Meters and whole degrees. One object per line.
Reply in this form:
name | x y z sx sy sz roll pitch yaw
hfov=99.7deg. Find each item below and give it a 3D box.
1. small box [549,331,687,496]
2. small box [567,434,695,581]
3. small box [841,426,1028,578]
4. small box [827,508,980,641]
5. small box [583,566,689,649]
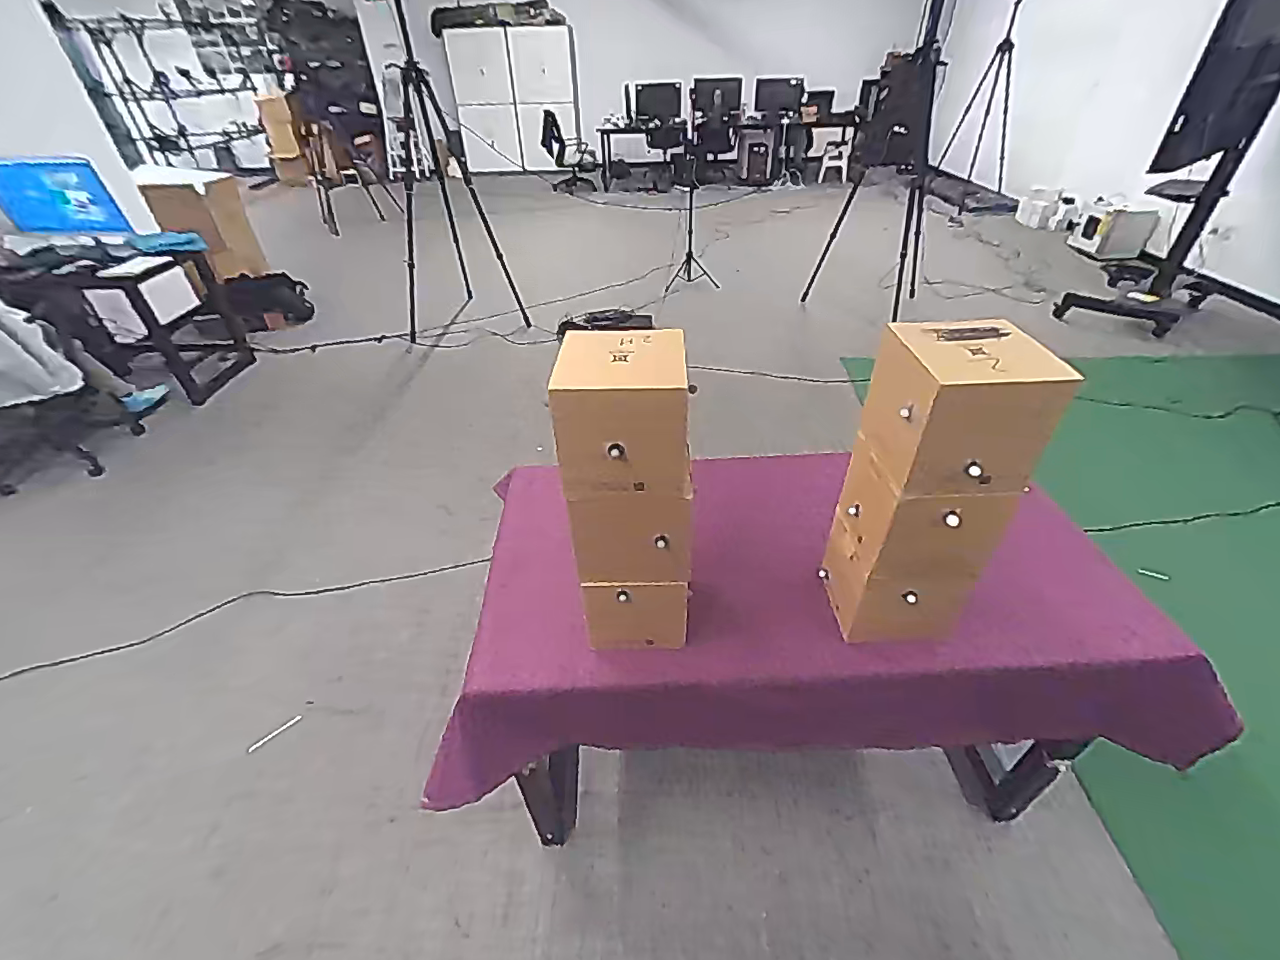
small box | -0.019 -0.091 0.741 0.168 0.176 0.179 1 38 3
small box | -0.008 0.042 0.838 0.179 0.176 0.168 -1 38 3
small box | 0.431 0.034 0.827 0.179 0.176 0.168 -3 39 1
small box | 0.433 0.162 0.928 0.179 0.176 0.168 -1 38 1
small box | -0.003 0.170 0.939 0.168 0.176 0.179 -2 38 2
